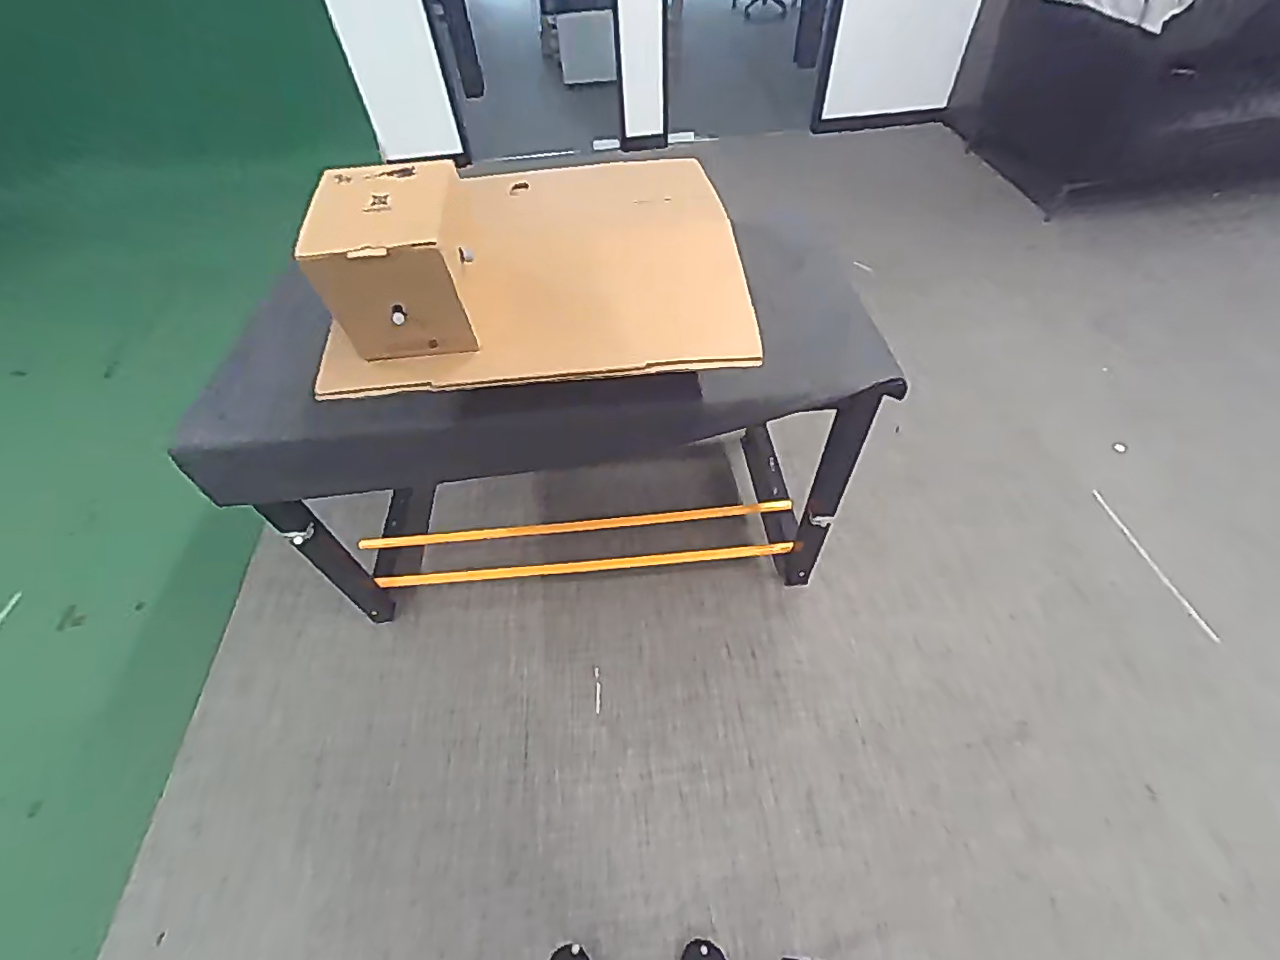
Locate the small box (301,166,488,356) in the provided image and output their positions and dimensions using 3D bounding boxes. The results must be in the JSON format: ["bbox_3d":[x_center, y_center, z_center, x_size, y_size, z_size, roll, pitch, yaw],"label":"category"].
[{"bbox_3d":[-0.309,-0.282,0.725,0.168,0.176,0.179,-5,60,-1],"label":"small box"}]
